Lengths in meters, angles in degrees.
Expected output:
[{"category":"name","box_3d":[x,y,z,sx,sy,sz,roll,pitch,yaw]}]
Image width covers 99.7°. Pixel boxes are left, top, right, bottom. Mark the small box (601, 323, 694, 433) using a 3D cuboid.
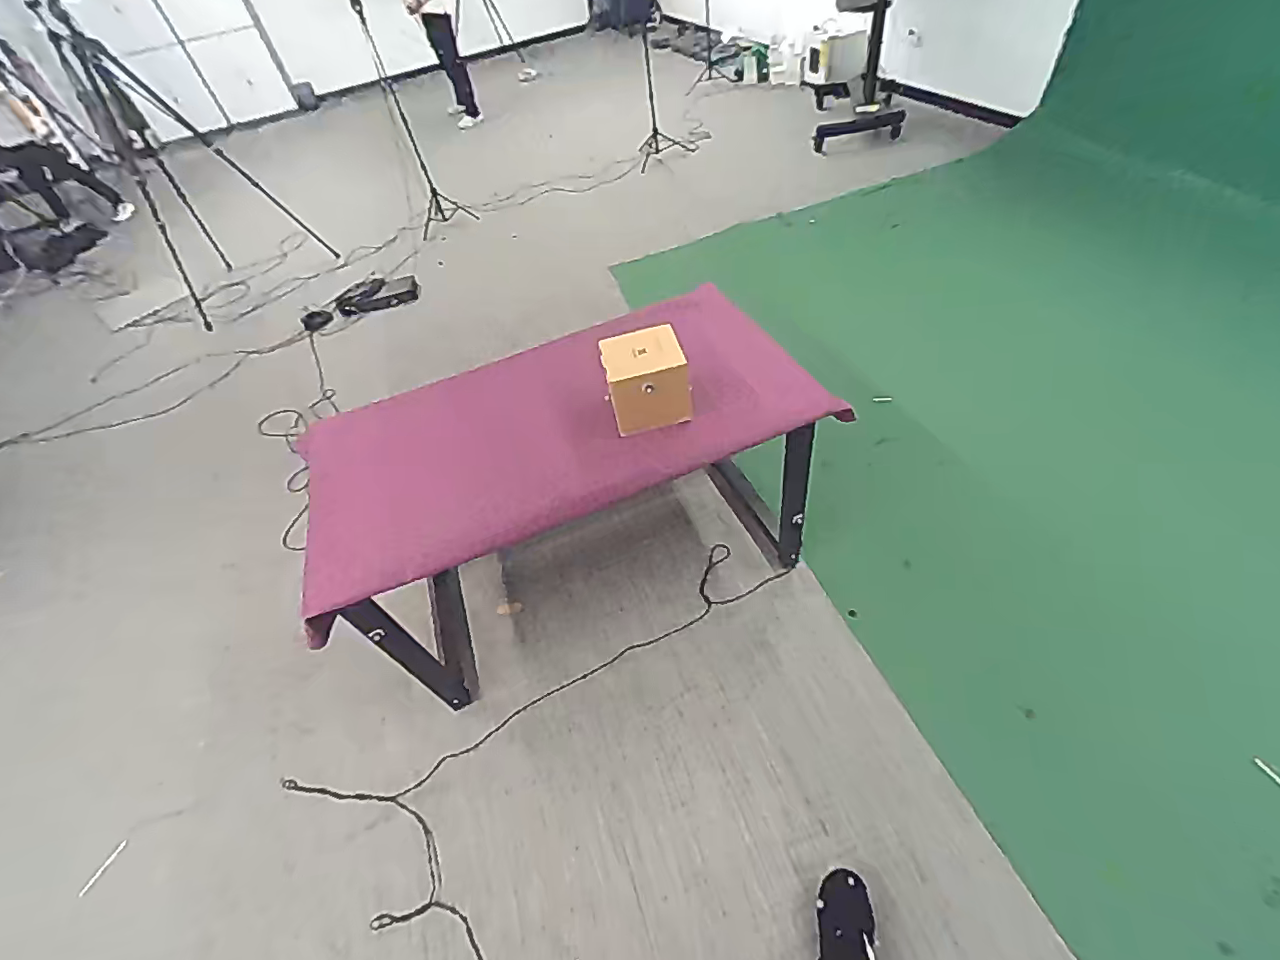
[{"category":"small box","box_3d":[0.019,-0.231,1.251,0.179,0.176,0.168,-13,48,-1]}]
